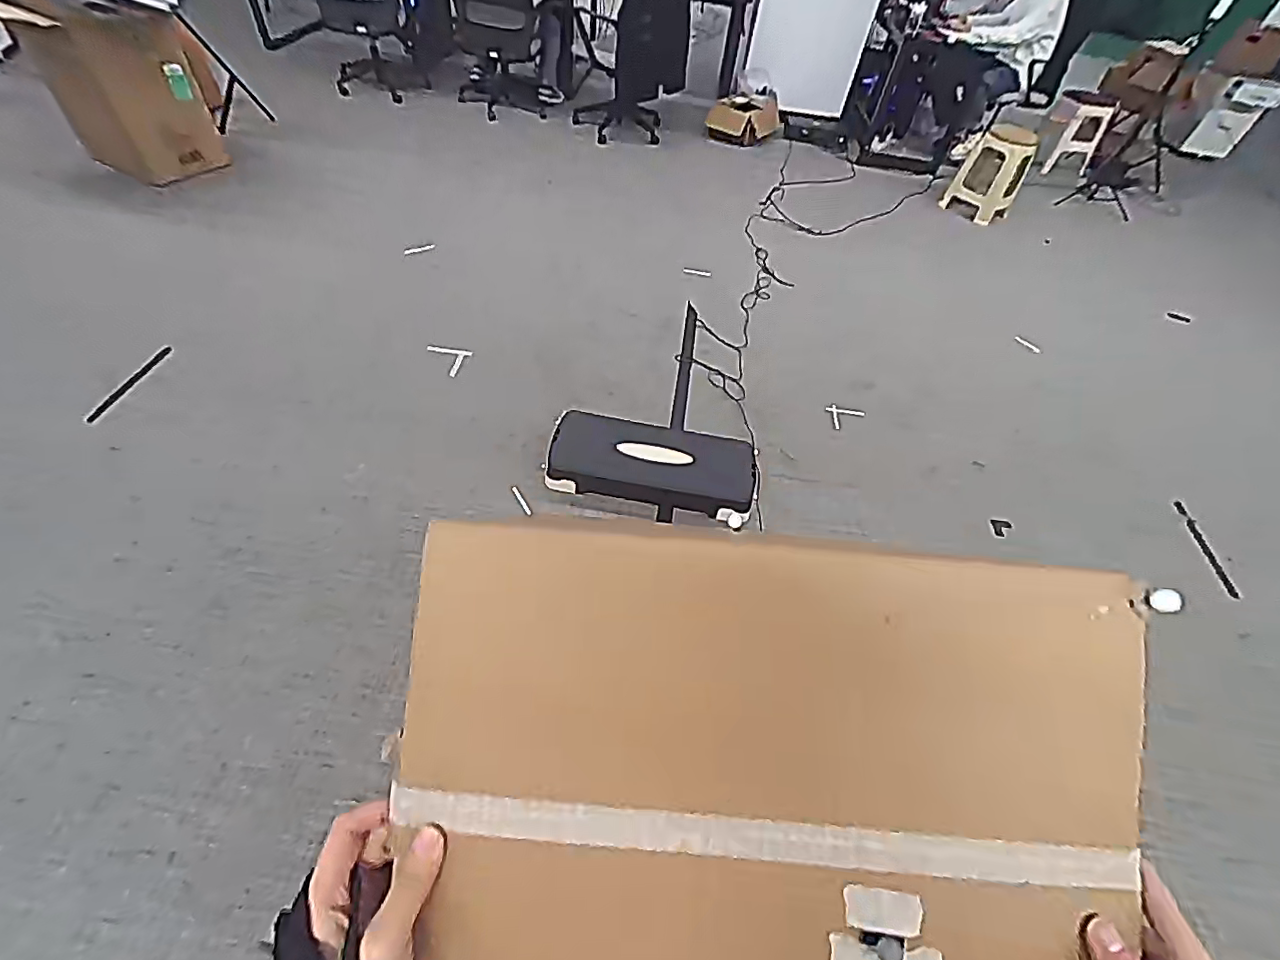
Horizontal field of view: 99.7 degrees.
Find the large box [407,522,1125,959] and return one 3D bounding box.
[{"bbox_3d":[0.071,0.199,0.455,0.408,0.320,0.320,4,87,0],"label":"large box"}]
